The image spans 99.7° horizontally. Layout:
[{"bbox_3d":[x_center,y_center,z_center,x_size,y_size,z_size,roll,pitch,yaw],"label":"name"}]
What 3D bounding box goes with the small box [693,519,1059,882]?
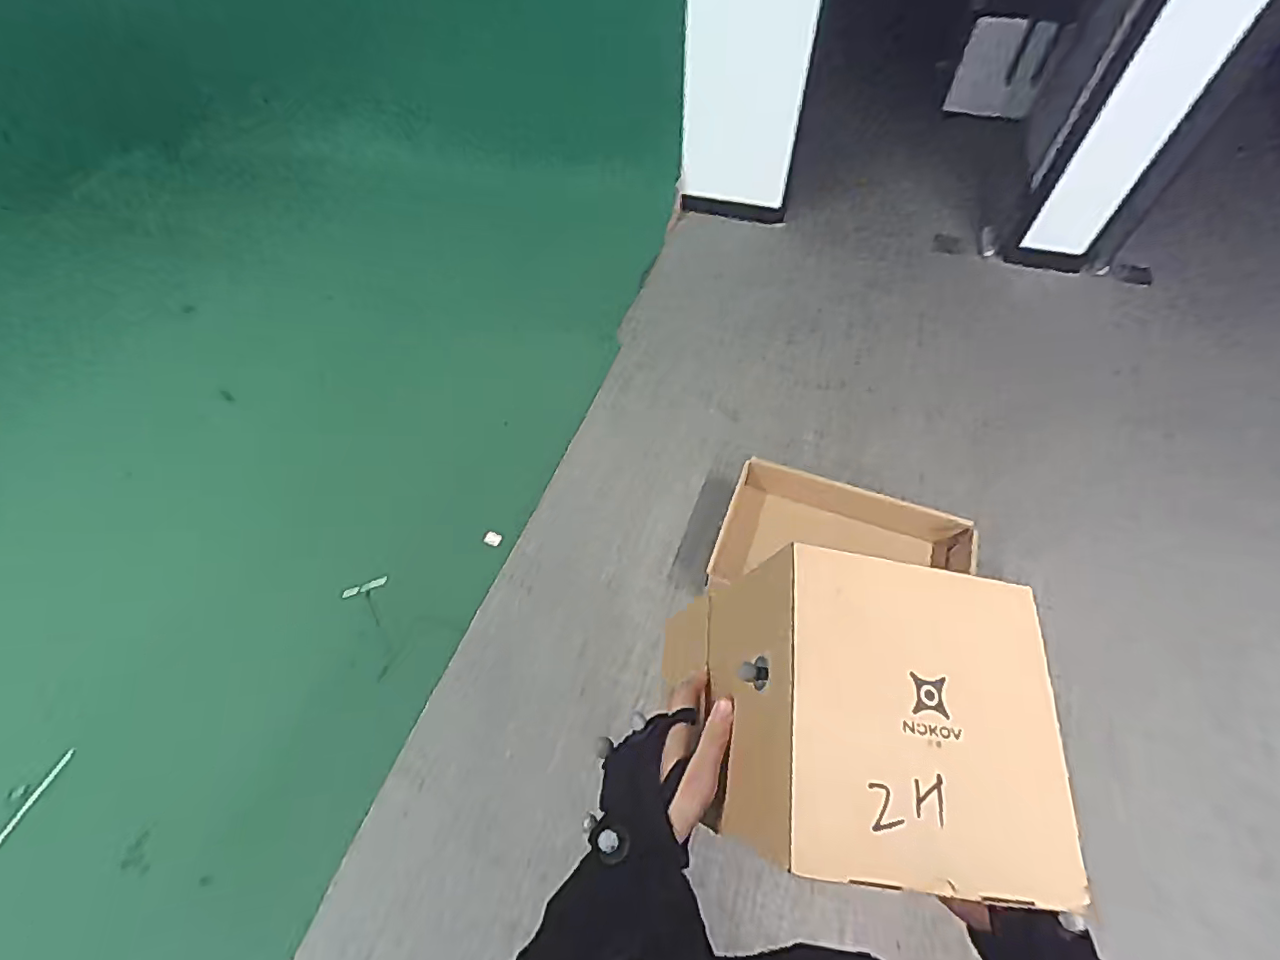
[{"bbox_3d":[0.142,0.151,0.387,0.168,0.176,0.179,12,65,-4],"label":"small box"}]
